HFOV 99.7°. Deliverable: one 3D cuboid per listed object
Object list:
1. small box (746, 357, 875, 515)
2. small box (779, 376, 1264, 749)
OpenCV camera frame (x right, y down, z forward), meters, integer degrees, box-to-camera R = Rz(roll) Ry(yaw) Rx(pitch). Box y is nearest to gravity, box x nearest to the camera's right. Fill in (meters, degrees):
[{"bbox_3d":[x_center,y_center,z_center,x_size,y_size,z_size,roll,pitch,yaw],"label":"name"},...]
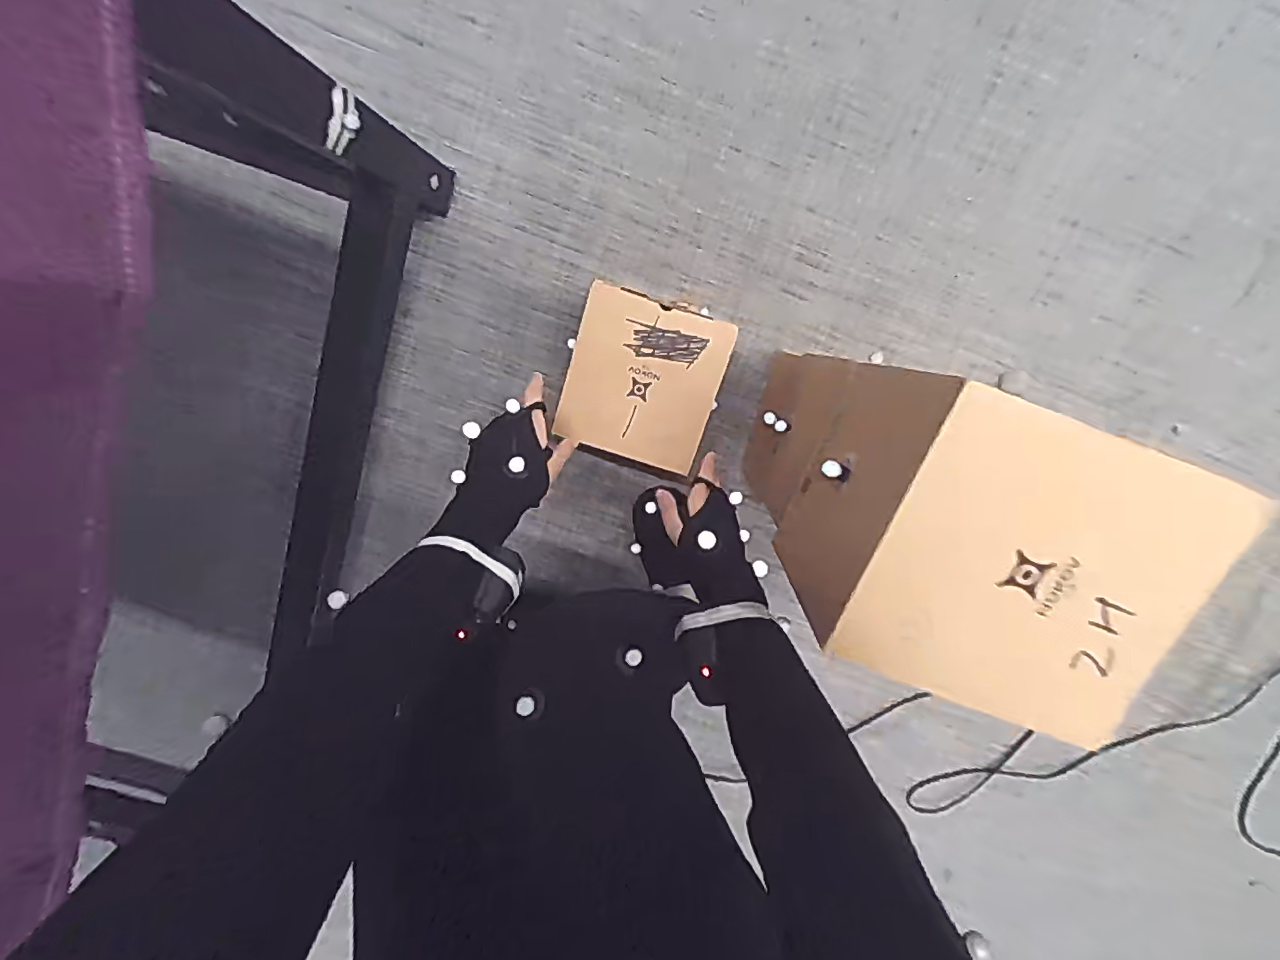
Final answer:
[{"bbox_3d":[0.242,-0.048,0.689,0.168,0.176,0.179,15,105,-2],"label":"small box"},{"bbox_3d":[0.216,0.035,0.371,0.179,0.176,0.168,21,106,-3],"label":"small box"}]
